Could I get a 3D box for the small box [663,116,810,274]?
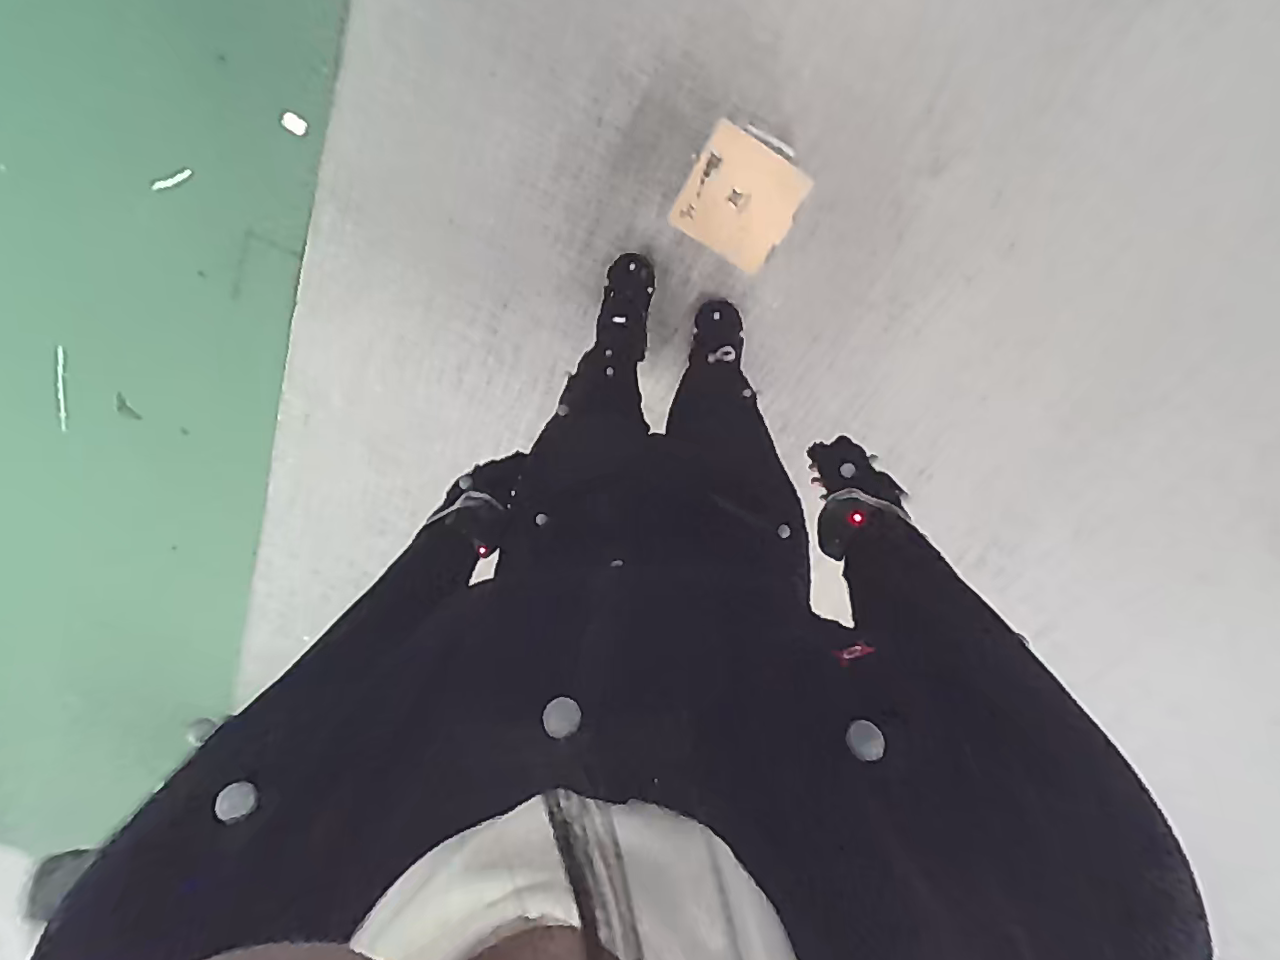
[{"bbox_3d":[0.162,-0.484,0.930,0.179,0.176,0.168,32,117,-8],"label":"small box"}]
